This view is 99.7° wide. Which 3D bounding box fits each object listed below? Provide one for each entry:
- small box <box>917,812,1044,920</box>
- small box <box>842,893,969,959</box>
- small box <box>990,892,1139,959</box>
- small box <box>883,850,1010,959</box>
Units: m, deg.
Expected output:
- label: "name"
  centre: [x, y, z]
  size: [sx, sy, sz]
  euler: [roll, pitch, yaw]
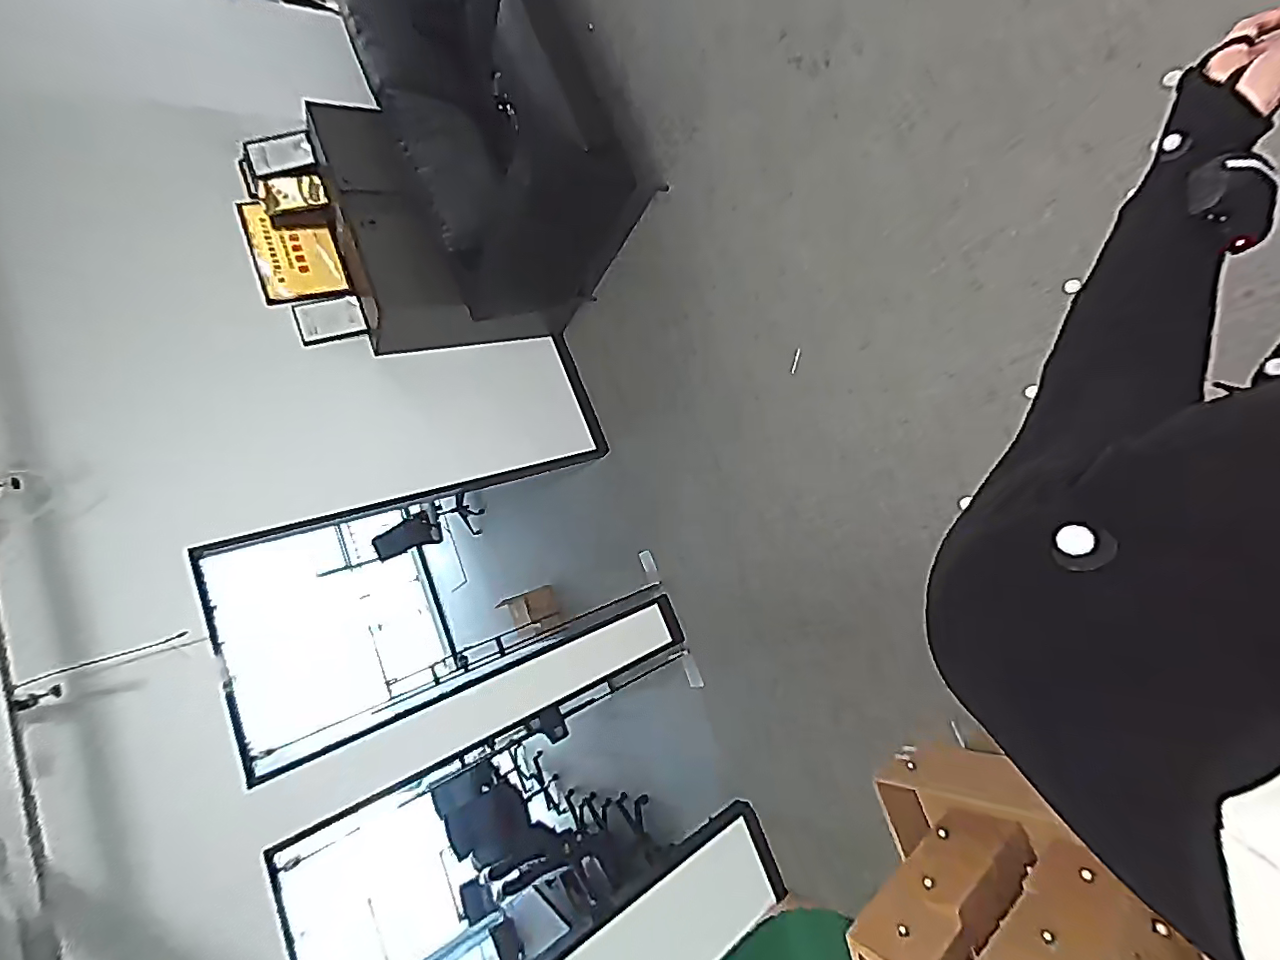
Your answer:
- label: "small box"
  centre: [0.818, 0.936, 1.300]
  size: [0.179, 0.176, 0.168]
  euler: [-31, 78, 55]
- label: "small box"
  centre: [0.558, 1.012, 1.120]
  size: [0.179, 0.176, 0.168]
  euler: [-15, 90, 55]
- label: "small box"
  centre: [0.808, 0.918, 1.004]
  size: [0.179, 0.176, 0.168]
  euler: [-35, 73, 57]
- label: "small box"
  centre: [0.690, 0.971, 1.209]
  size: [0.179, 0.176, 0.168]
  euler: [-31, 76, 54]
